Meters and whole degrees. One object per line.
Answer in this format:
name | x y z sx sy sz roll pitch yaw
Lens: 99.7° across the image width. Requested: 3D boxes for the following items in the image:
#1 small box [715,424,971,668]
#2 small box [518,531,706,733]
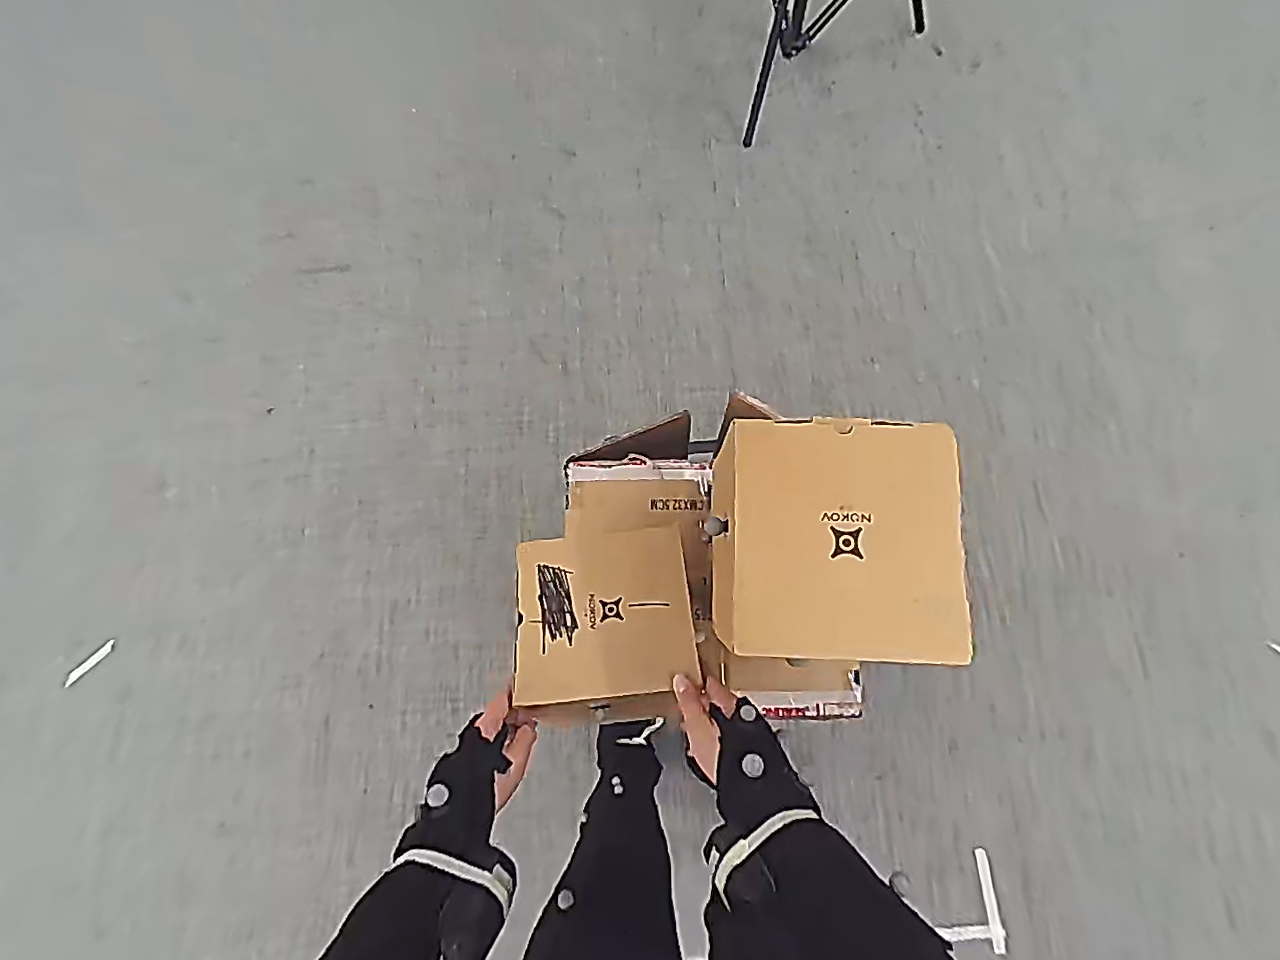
small box | 0.156 0.059 0.472 0.168 0.176 0.179 1 78 3
small box | -0.026 0.175 0.599 0.179 0.176 0.168 -7 59 0
